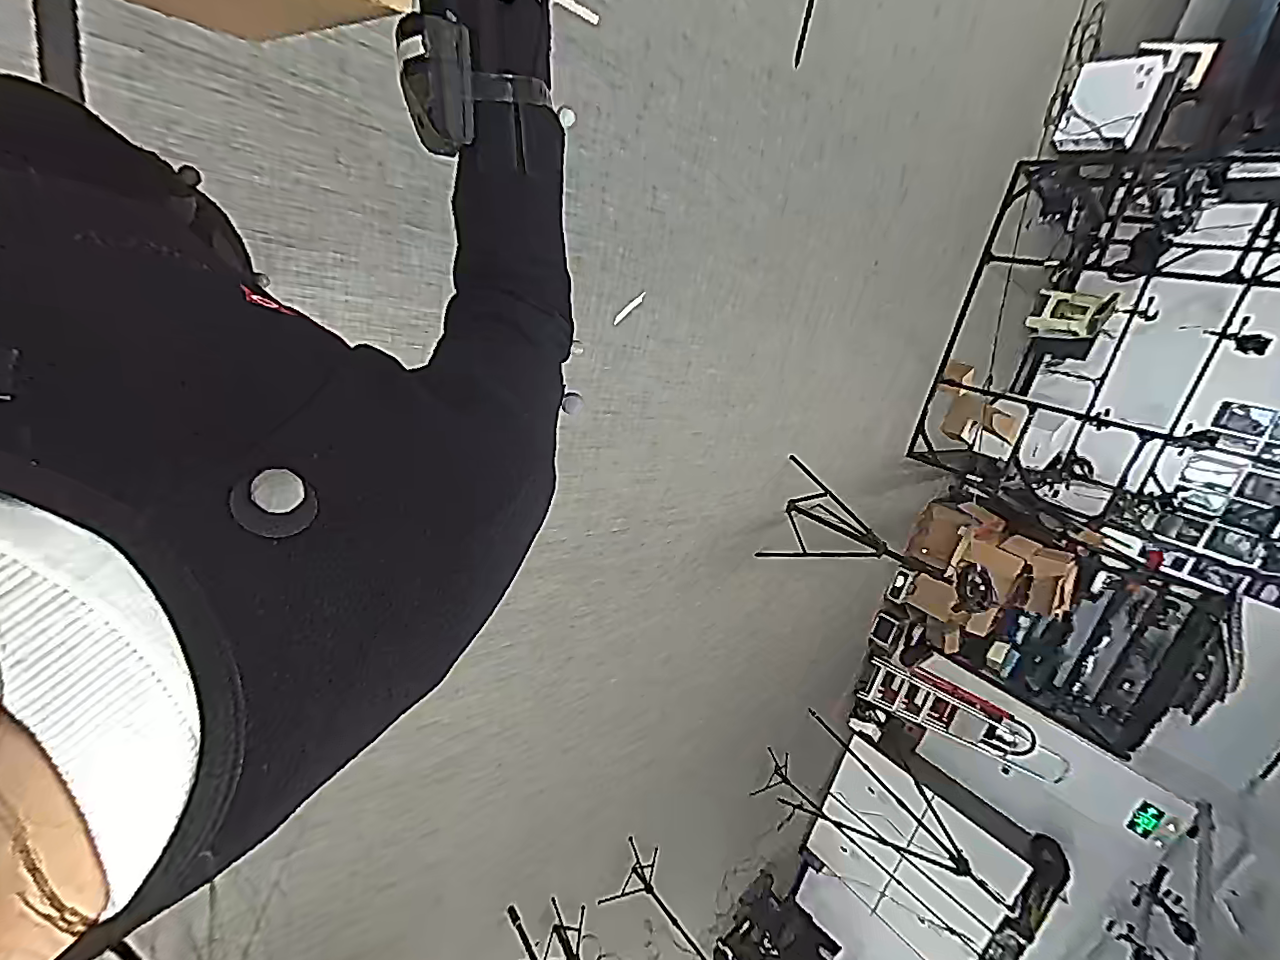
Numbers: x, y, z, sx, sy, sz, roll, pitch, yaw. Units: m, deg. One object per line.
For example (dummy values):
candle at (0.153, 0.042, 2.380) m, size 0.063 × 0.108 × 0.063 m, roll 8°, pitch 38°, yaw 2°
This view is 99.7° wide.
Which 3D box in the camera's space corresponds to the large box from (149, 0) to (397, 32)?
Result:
large box at (-0.345, -0.425, 0.188) m, size 0.408 × 0.320 × 0.320 m, roll -14°, pitch 127°, yaw -44°
